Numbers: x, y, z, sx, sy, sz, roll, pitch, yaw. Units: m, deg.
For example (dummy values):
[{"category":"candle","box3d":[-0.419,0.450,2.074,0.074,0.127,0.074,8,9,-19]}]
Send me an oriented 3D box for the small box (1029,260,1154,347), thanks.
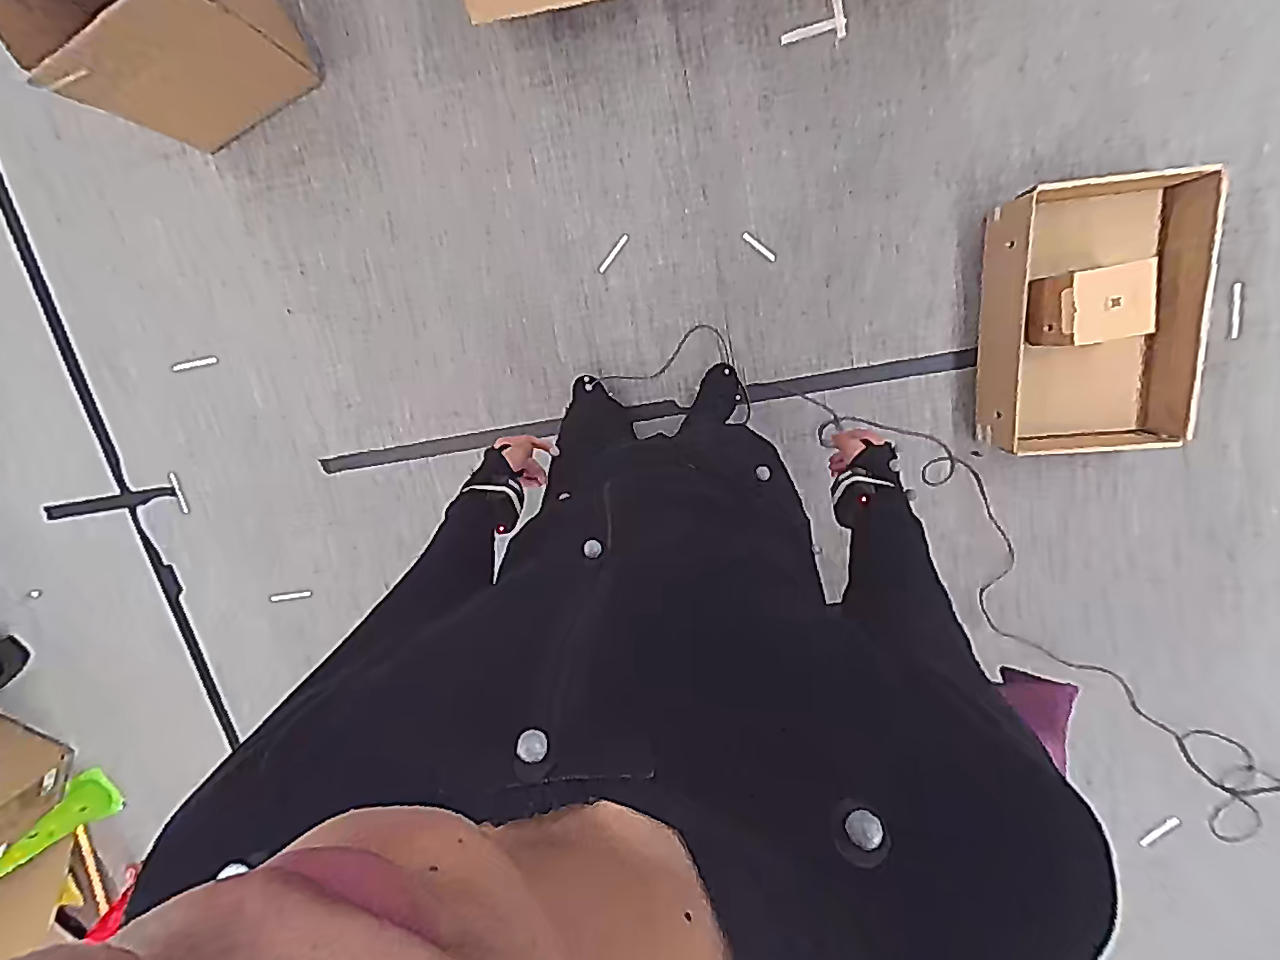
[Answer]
[{"category":"small box","box3d":[1.069,-0.414,1.295,0.179,0.176,0.168,-9,104,8]}]
